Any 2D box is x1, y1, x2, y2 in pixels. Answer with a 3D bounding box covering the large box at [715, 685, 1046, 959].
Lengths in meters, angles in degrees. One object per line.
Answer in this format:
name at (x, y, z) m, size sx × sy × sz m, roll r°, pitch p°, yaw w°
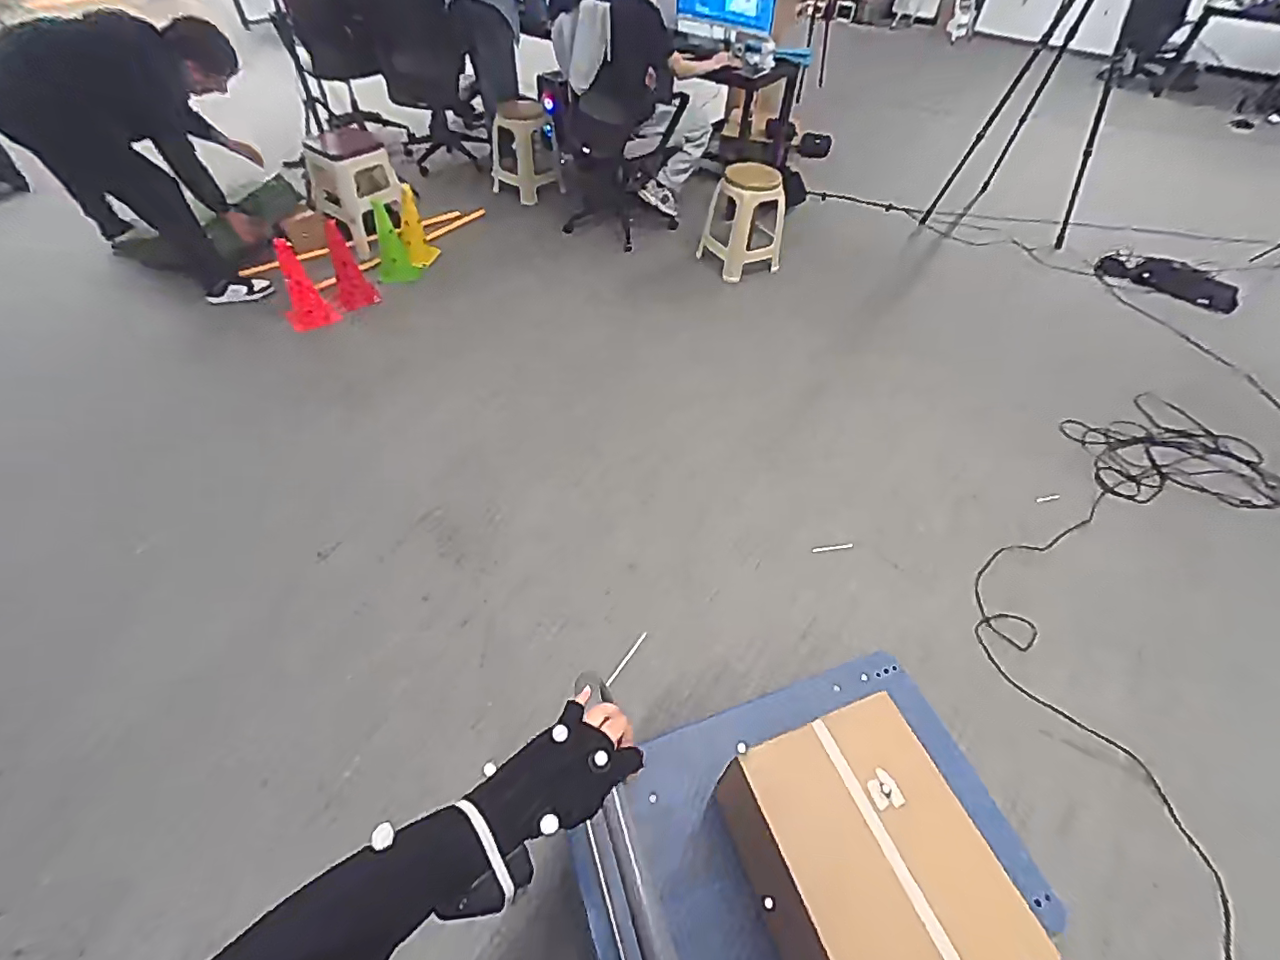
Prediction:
large box at (0.371, 0.658, 0.966) m, size 0.320 × 0.320 × 0.408 m, roll -15°, pitch 51°, yaw -15°
